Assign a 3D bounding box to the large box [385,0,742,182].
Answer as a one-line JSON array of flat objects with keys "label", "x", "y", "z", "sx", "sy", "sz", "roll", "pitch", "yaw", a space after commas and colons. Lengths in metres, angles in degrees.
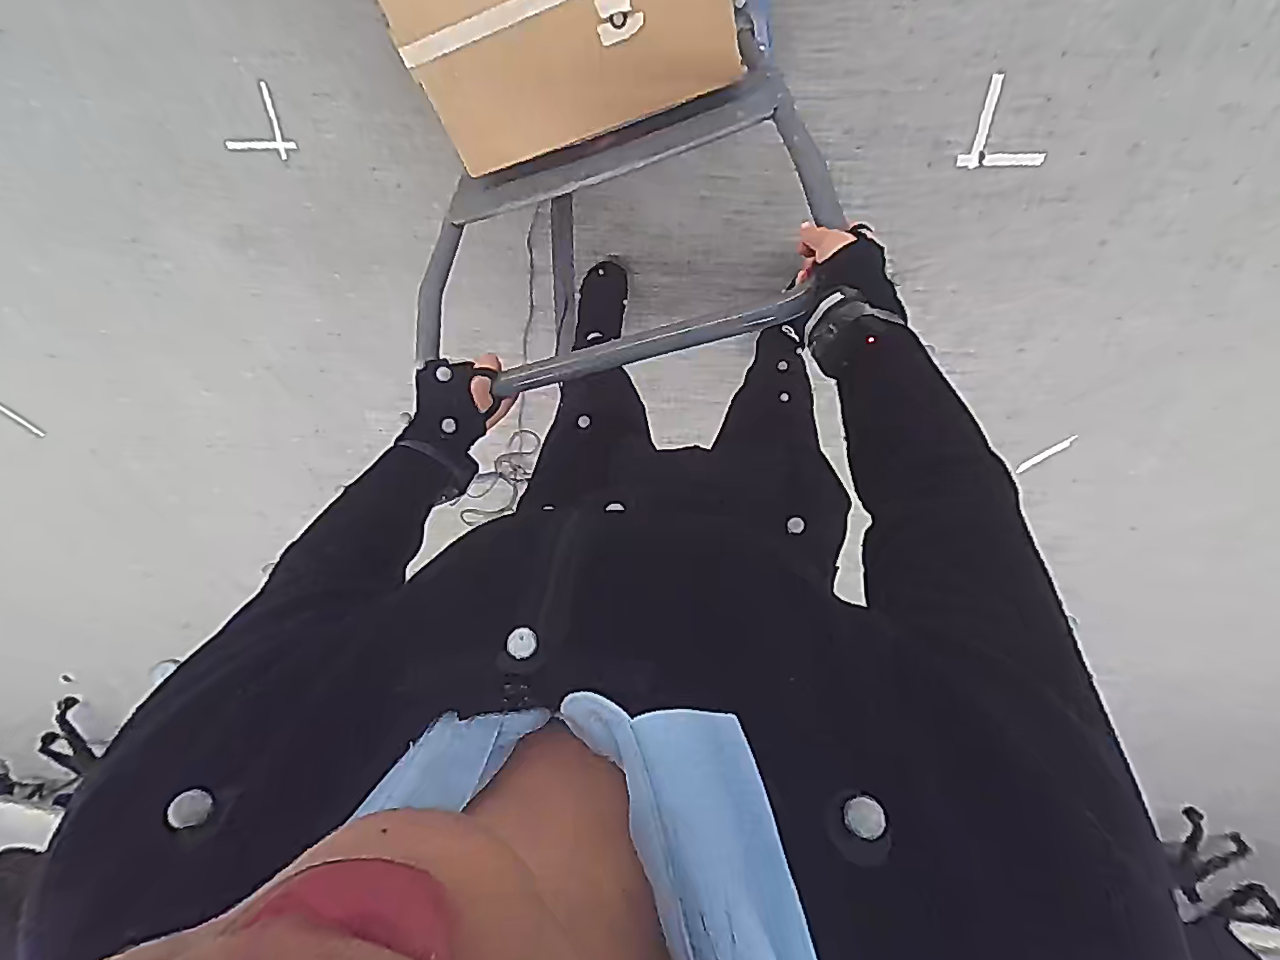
[{"label": "large box", "x": -0.103, "y": -0.691, "z": 0.749, "sx": 0.408, "sy": 0.320, "sz": 0.320, "roll": -13, "pitch": 139, "yaw": 12}]
